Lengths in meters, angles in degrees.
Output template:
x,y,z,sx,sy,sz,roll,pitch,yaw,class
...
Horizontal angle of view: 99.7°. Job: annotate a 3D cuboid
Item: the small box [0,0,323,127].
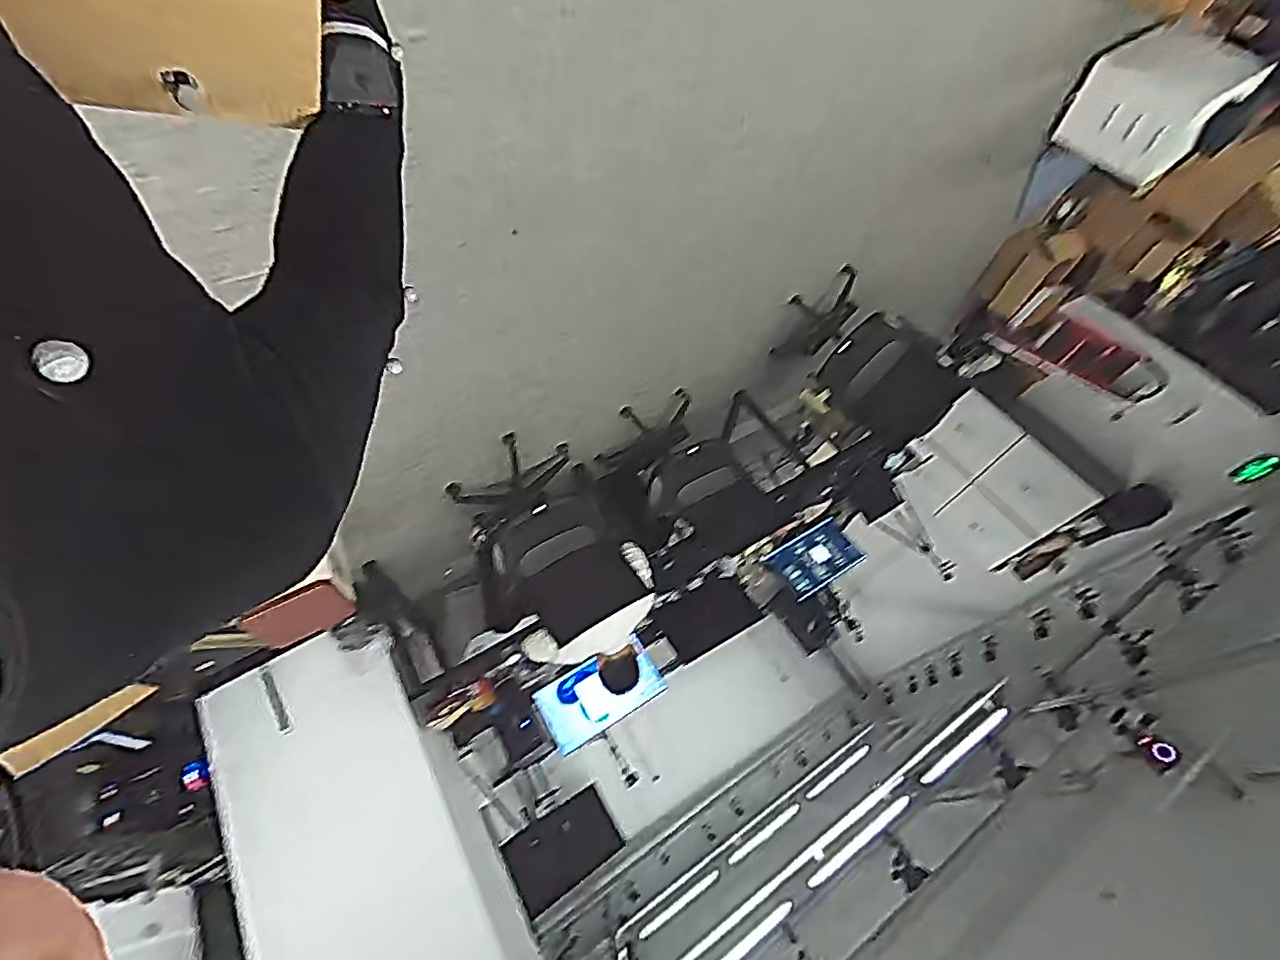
x,y,z,sx,sy,sz,roll,pitch,yaw,class
-0.327,-0.368,0.355,0.179,0.168,0.176,-14,-176,-31,small box
